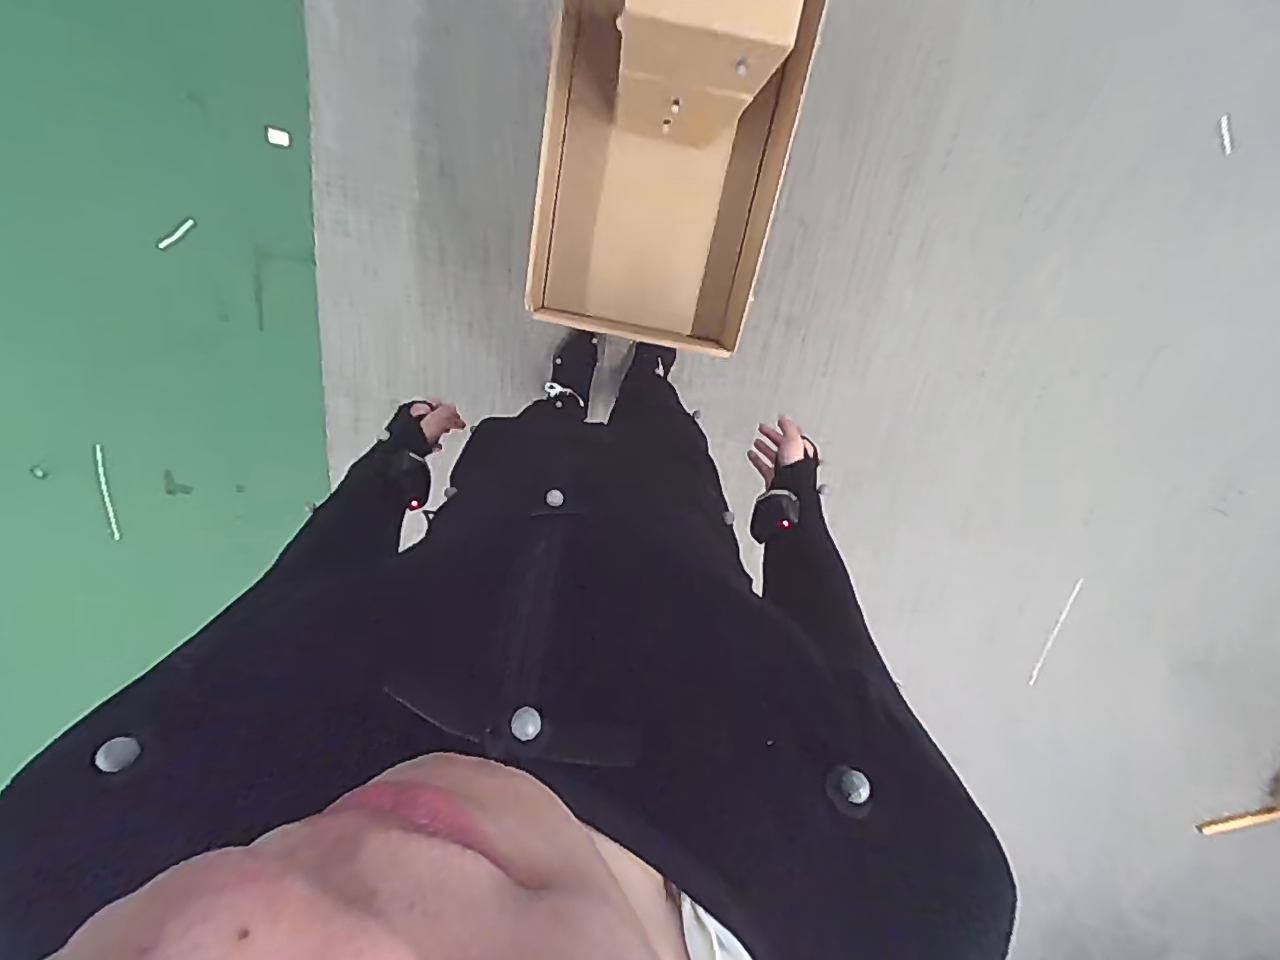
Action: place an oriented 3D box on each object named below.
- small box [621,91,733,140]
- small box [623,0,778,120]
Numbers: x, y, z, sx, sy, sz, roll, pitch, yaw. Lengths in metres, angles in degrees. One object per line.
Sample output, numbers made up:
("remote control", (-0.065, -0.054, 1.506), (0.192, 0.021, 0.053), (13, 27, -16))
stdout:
("small box", (0.070, -0.672, 0.876), (0.179, 0.176, 0.168), (10, 112, -6))
("small box", (0.075, -0.606, 0.725), (0.179, 0.176, 0.168), (8, 111, -5))
